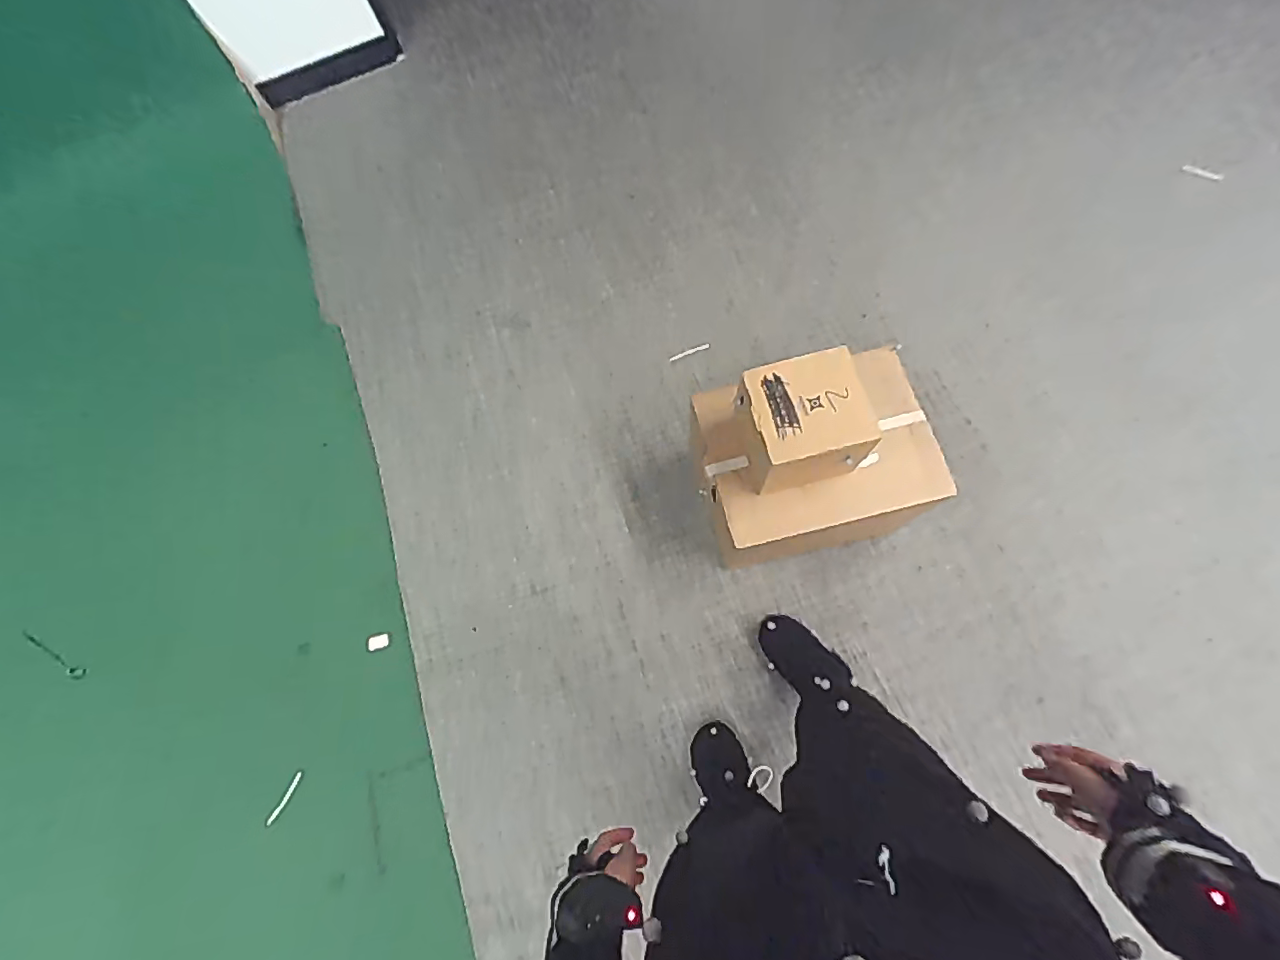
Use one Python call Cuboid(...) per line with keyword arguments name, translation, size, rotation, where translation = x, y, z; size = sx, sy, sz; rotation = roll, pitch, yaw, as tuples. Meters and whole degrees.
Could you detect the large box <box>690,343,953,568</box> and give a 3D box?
Cuboid(name="large box", translation=(0.338, -0.030, 1.140), size=(0.408, 0.320, 0.320), rotation=(-15, 73, 1))
